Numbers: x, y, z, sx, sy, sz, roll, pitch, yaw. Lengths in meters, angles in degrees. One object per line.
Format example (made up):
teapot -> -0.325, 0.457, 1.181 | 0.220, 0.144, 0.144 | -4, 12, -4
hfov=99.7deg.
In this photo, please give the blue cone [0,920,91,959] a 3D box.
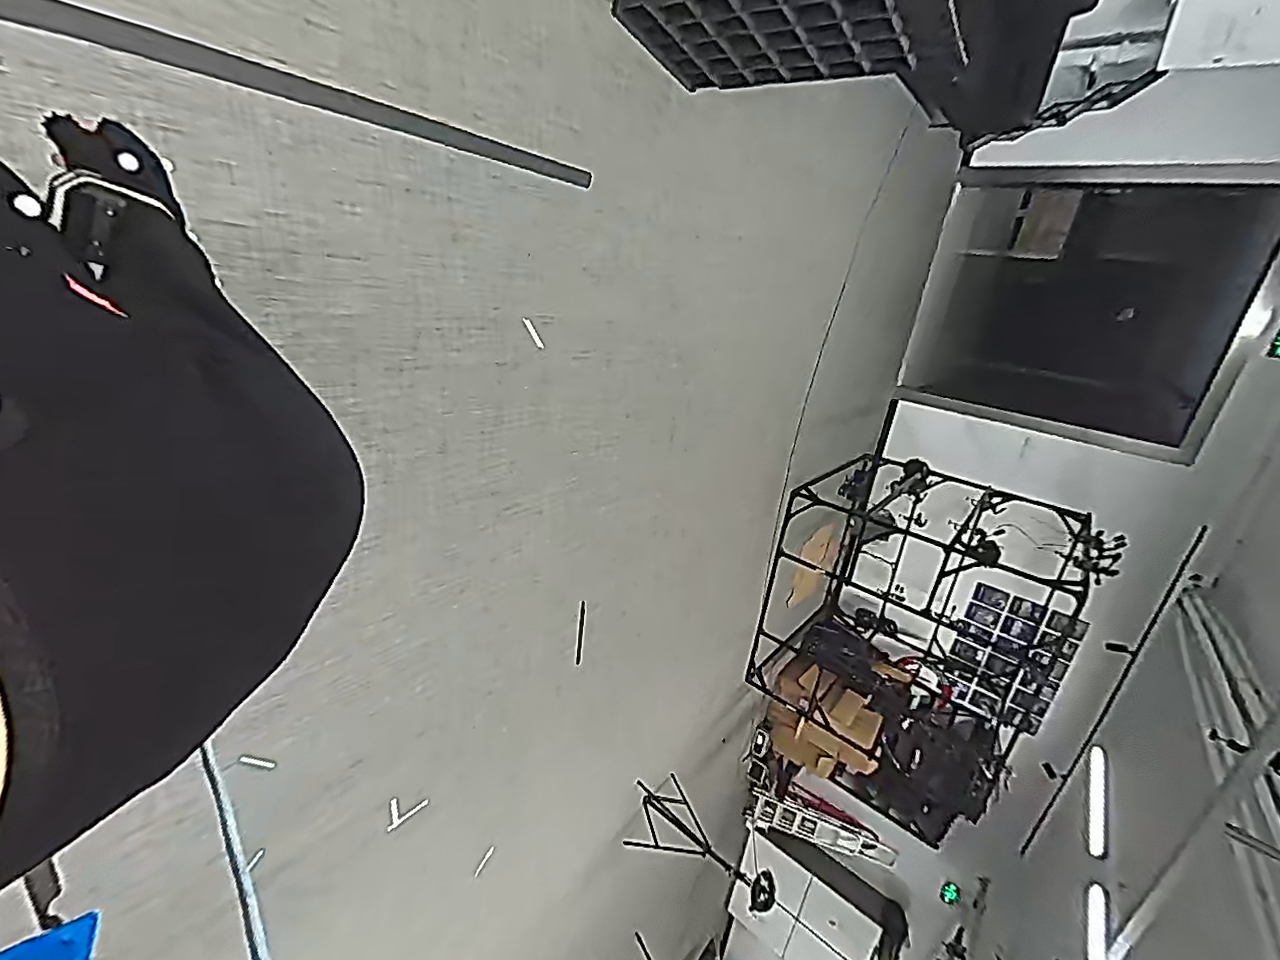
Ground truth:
blue cone -> -1.354, 1.254, 1.233 | 0.192, 0.380, 0.193 | 7, 103, -57
